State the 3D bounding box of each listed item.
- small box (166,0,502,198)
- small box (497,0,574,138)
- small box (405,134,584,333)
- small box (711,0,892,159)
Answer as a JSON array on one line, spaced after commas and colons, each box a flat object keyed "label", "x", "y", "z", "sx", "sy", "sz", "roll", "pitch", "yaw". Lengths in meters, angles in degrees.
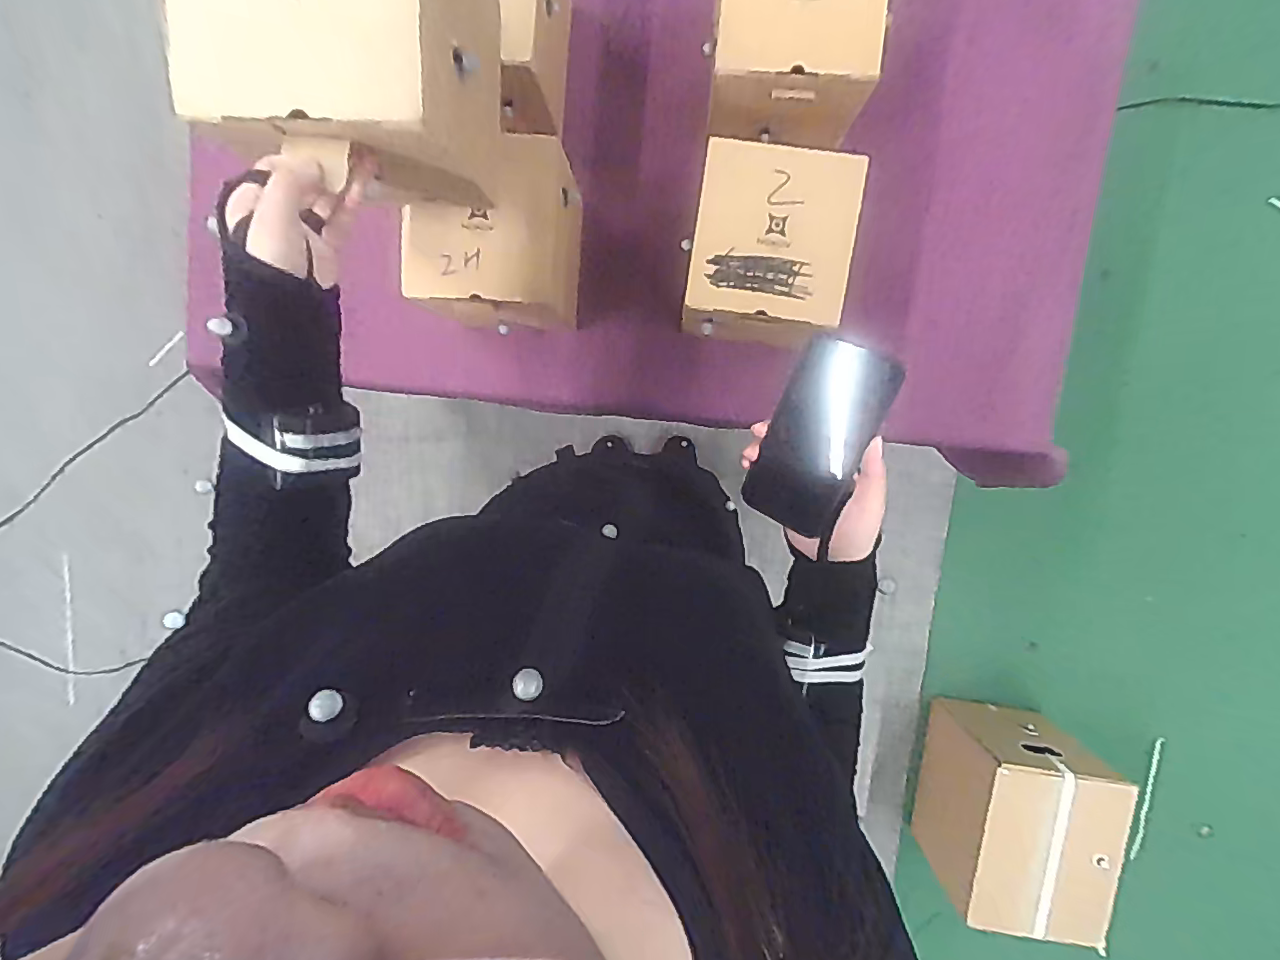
[{"label": "small box", "x": -0.209, "y": -0.332, "z": 0.410, "sx": 0.168, "sy": 0.176, "sz": 0.179, "roll": 4, "pitch": 101, "yaw": 2}, {"label": "small box", "x": -0.175, "y": -0.529, "z": 0.632, "sx": 0.168, "sy": 0.176, "sz": 0.179, "roll": 6, "pitch": 96, "yaw": 1}, {"label": "small box", "x": -0.164, "y": -0.287, "z": 0.656, "sx": 0.168, "sy": 0.176, "sz": 0.179, "roll": 4, "pitch": 96, "yaw": 3}, {"label": "small box", "x": 0.173, "y": -0.501, "z": 0.615, "sx": 0.168, "sy": 0.176, "sz": 0.179, "roll": 4, "pitch": 97, "yaw": 3}]
